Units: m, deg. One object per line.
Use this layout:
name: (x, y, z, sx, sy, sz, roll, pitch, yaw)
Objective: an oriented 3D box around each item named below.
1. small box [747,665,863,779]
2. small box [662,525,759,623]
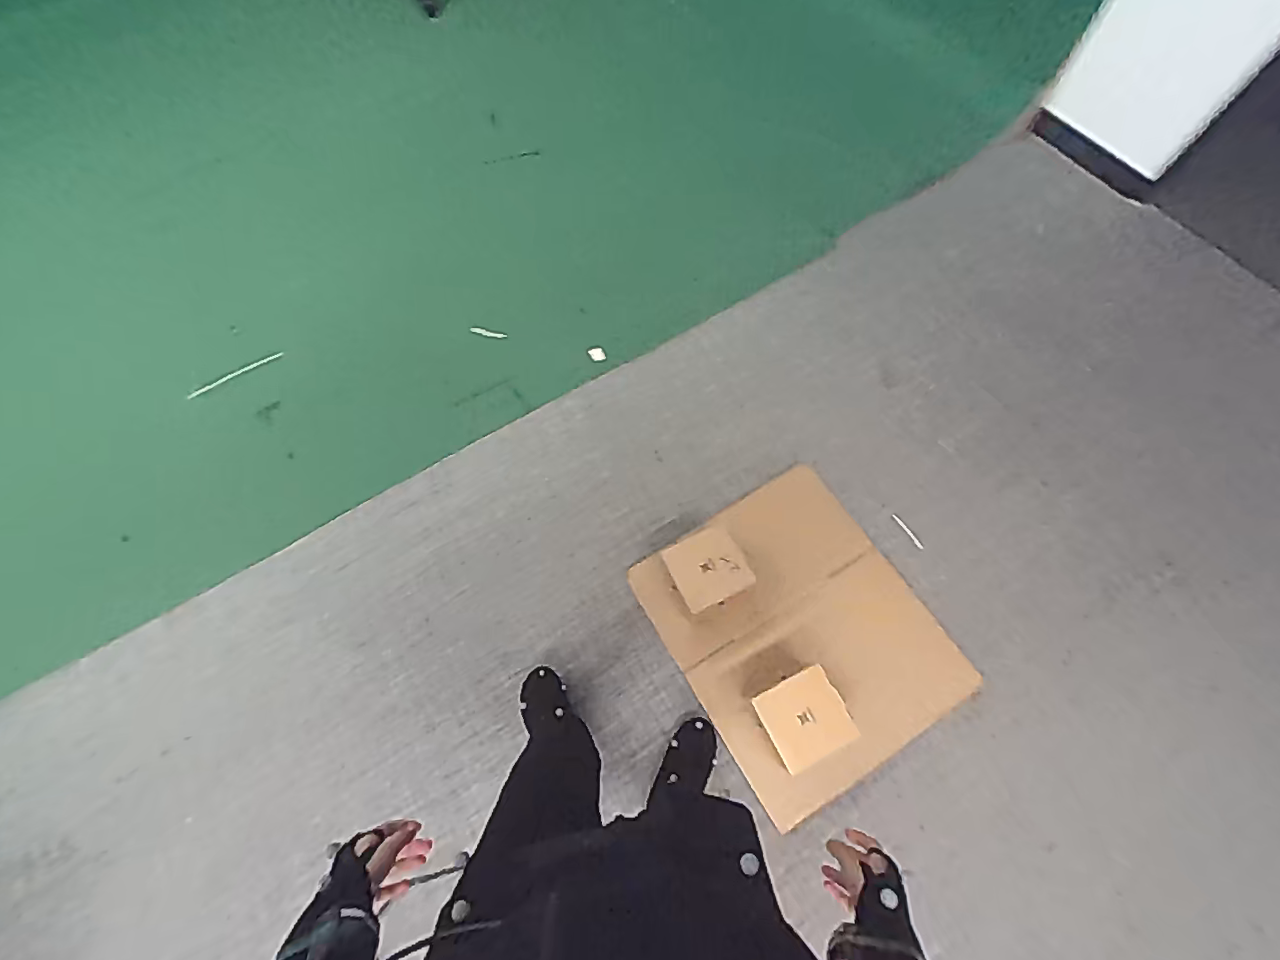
small box: (0.352, 0.533, 1.202, 0.179, 0.176, 0.168, -26, 70, -8)
small box: (0.168, 0.238, 1.331, 0.179, 0.176, 0.168, -25, 70, -7)
